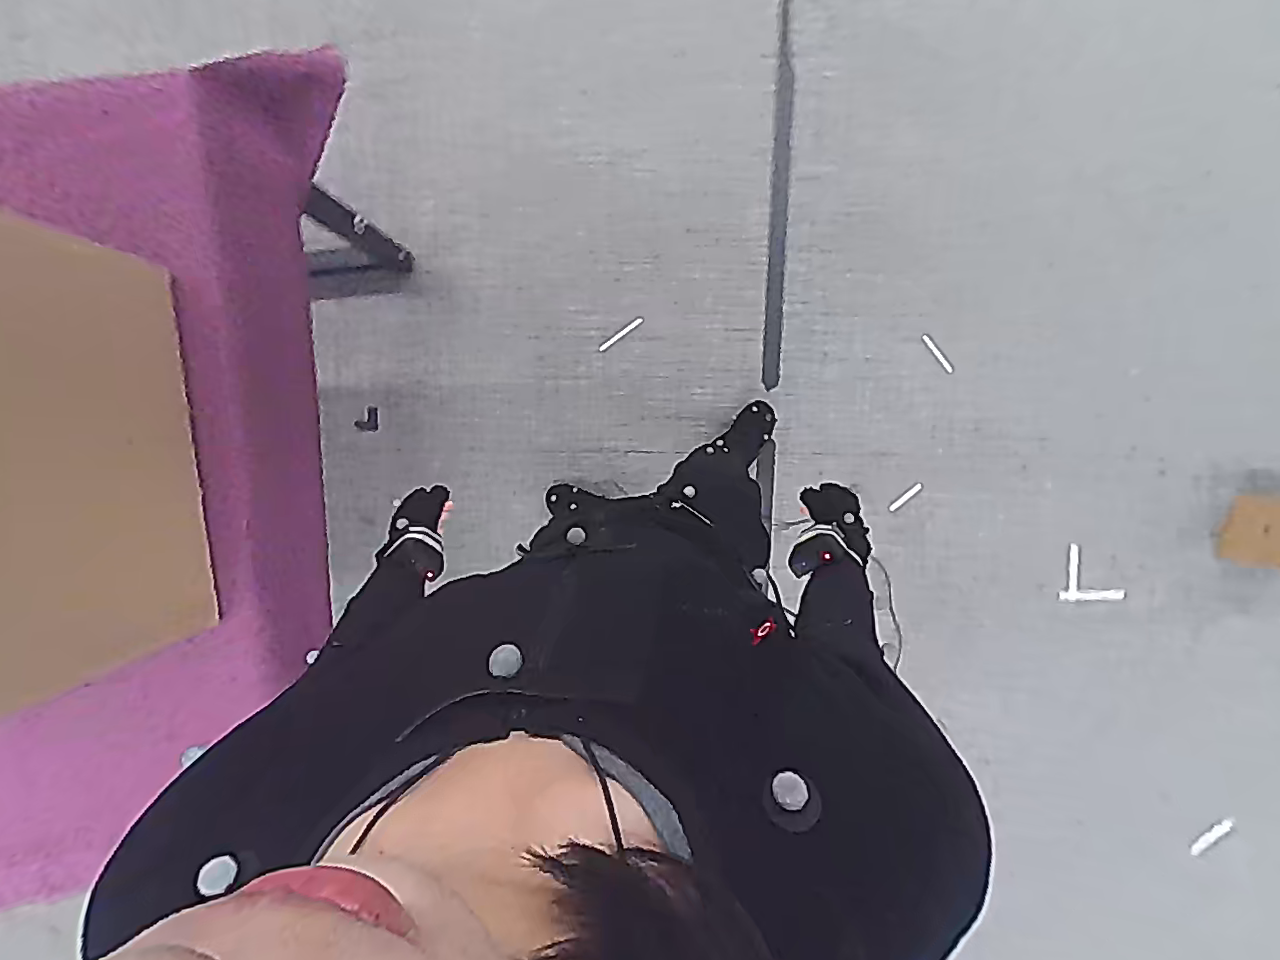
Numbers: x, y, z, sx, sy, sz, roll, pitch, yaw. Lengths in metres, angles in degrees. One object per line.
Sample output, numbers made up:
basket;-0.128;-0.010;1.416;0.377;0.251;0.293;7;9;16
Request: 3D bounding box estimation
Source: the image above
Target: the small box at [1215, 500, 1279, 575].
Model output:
small box;1.662;0.157;1.394;0.168;0.176;0.179;12;93;1
